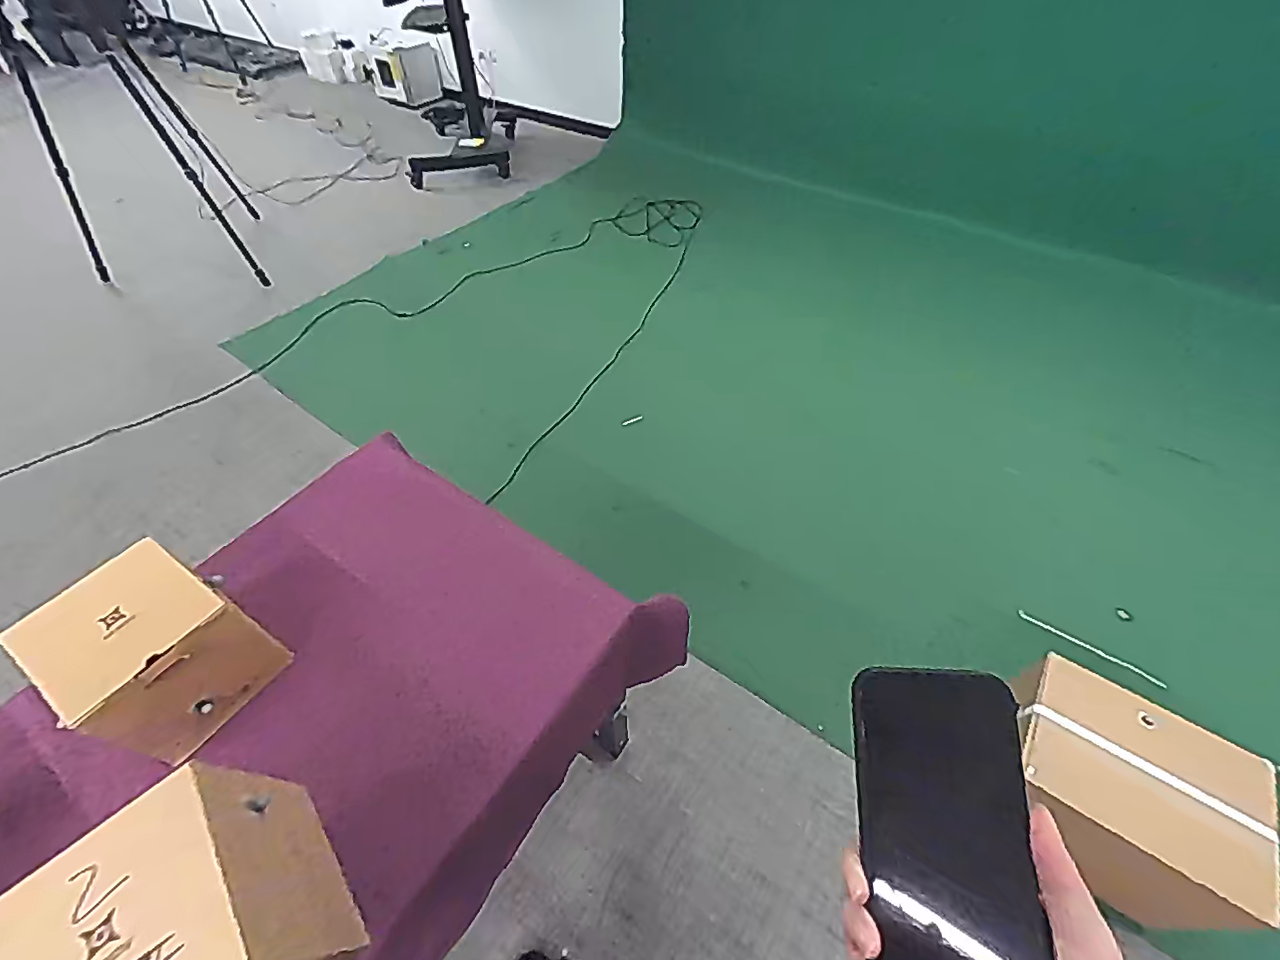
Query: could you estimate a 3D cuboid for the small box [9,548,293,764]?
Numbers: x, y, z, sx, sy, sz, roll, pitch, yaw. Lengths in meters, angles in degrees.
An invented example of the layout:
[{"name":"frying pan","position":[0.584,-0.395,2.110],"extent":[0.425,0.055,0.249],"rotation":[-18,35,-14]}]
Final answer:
[{"name":"small box","position":[-0.593,0.224,0.679],"extent":[0.179,0.176,0.168],"rotation":[26,55,20]}]
